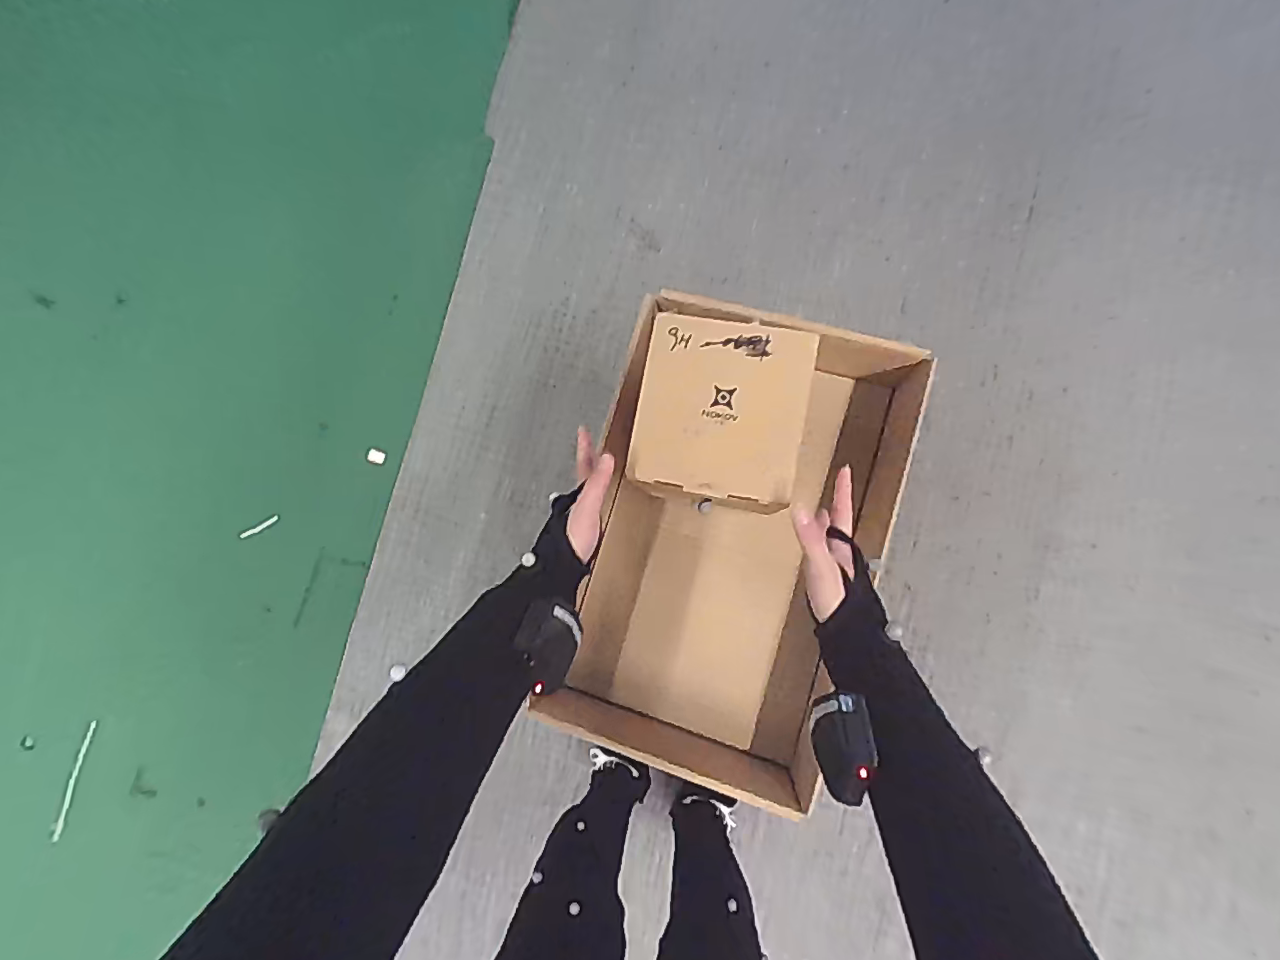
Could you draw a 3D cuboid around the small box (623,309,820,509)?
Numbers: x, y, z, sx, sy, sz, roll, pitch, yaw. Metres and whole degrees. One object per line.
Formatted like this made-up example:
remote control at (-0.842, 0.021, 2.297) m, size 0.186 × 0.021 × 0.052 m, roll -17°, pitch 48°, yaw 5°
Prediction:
small box at (0.090, -0.066, 0.602) m, size 0.168 × 0.176 × 0.179 m, roll 10°, pitch 87°, yaw 9°
